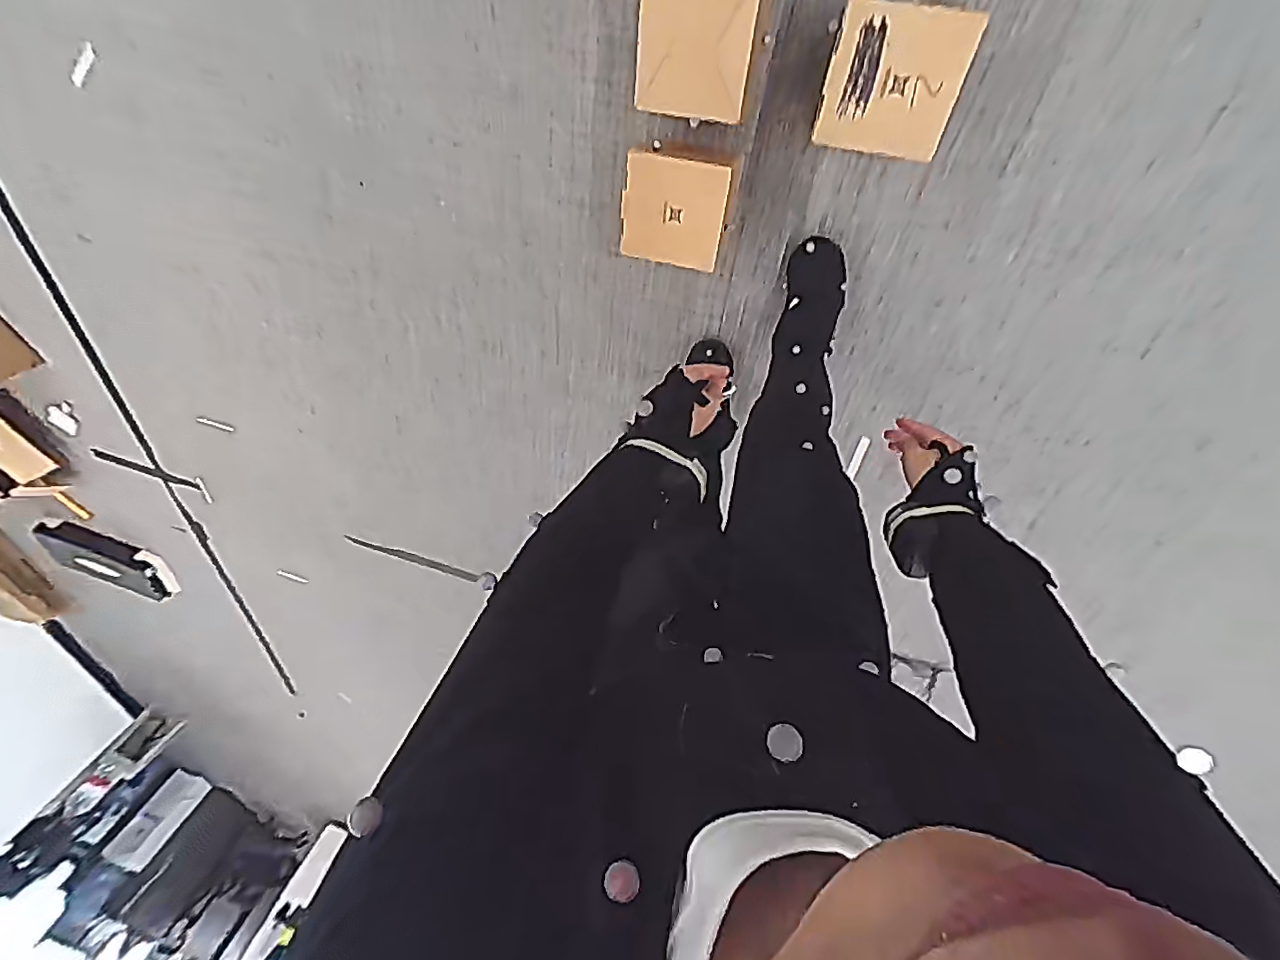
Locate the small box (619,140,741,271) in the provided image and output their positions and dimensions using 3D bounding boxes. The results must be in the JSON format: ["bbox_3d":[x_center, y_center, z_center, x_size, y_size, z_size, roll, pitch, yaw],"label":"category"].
[{"bbox_3d":[0.075,-0.501,0.978,0.179,0.176,0.168,15,131,8],"label":"small box"}]
